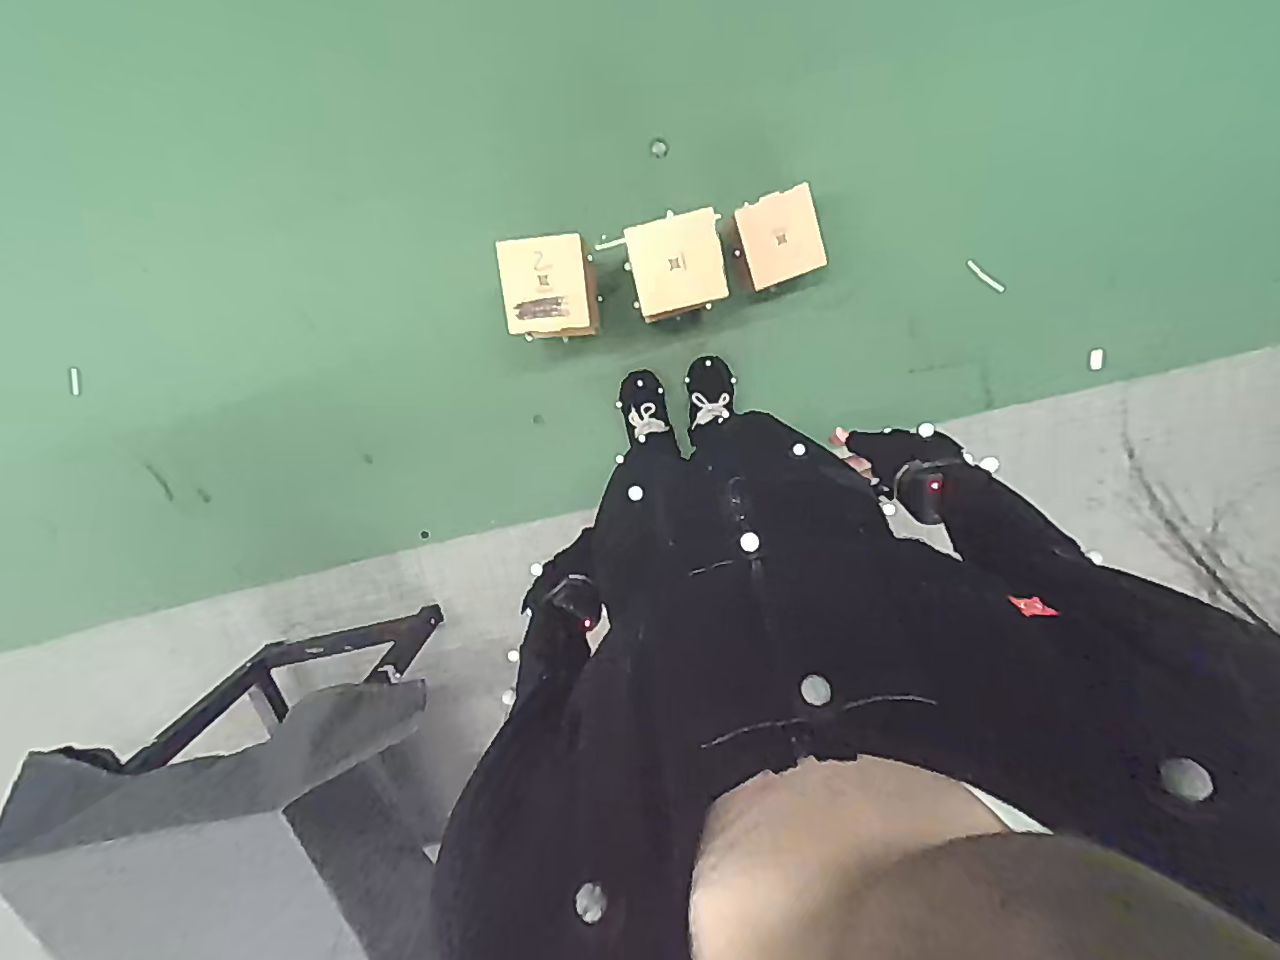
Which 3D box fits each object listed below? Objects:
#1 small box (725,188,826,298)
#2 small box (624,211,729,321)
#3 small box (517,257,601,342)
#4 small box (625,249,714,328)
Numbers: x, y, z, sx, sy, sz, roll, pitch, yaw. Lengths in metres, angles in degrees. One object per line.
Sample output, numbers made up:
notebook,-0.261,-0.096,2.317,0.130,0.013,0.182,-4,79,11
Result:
small box,0.305,-0.535,1.246,0.168,0.176,0.179,-18,105,6
small box,0.073,-0.427,1.108,0.179,0.176,0.168,-13,105,4
small box,-0.186,-0.421,1.283,0.168,0.176,0.179,-3,106,2
small box,0.069,-0.465,1.267,0.168,0.176,0.179,-15,104,5
